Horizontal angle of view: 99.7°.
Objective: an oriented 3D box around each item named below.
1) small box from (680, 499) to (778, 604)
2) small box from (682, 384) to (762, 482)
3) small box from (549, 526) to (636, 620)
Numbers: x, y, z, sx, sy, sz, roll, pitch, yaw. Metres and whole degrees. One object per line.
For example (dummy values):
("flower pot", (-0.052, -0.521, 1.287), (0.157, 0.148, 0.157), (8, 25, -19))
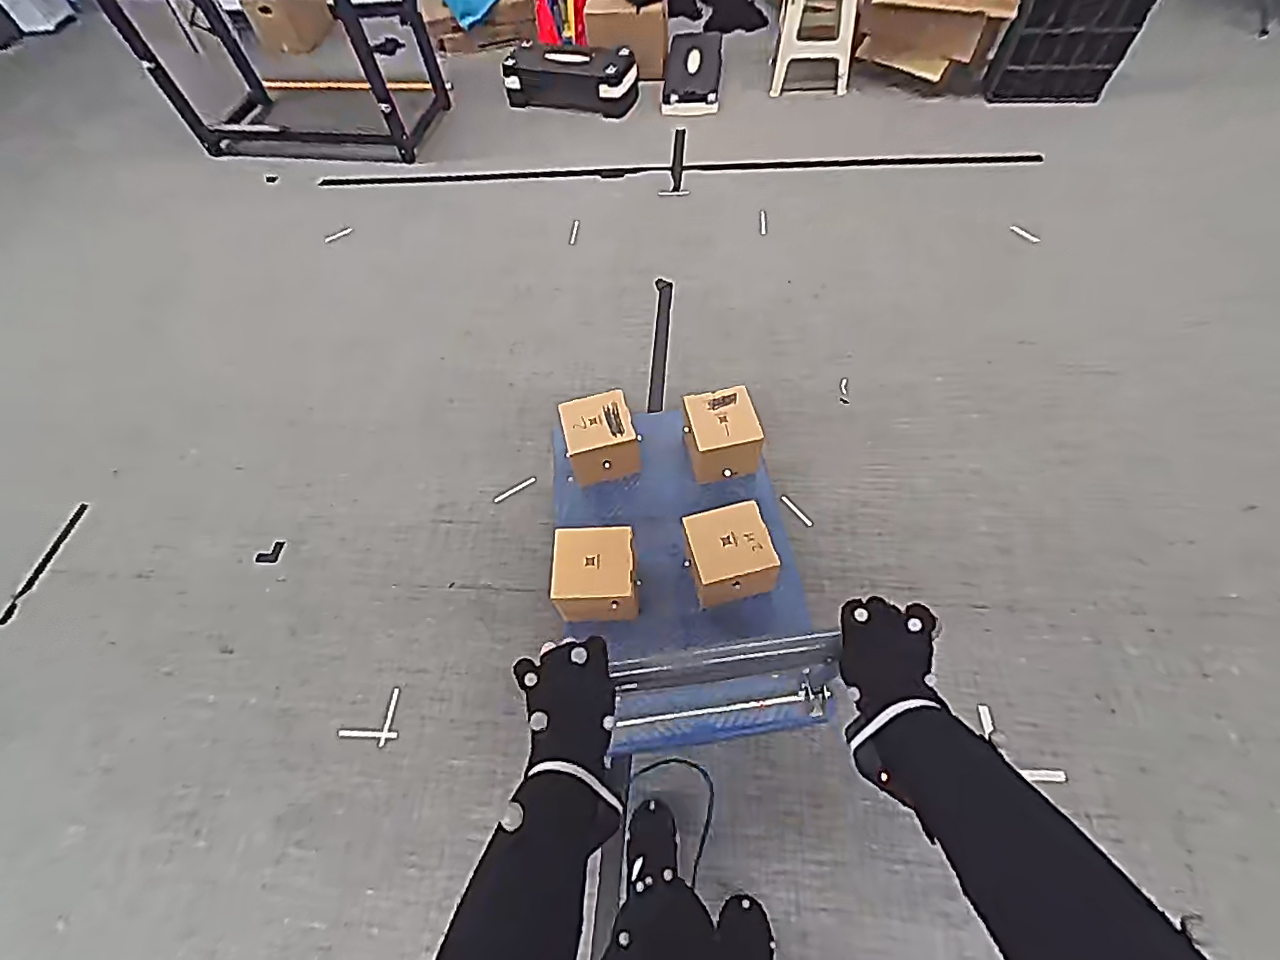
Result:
("small box", (0.199, 0.171, 1.246), (0.179, 0.176, 0.168), (-14, 59, -3))
("small box", (0.207, -0.120, 1.417), (0.168, 0.176, 0.179), (-12, 60, -2))
("small box", (-0.102, 0.218, 1.245), (0.179, 0.176, 0.168), (-2, 59, 2))
